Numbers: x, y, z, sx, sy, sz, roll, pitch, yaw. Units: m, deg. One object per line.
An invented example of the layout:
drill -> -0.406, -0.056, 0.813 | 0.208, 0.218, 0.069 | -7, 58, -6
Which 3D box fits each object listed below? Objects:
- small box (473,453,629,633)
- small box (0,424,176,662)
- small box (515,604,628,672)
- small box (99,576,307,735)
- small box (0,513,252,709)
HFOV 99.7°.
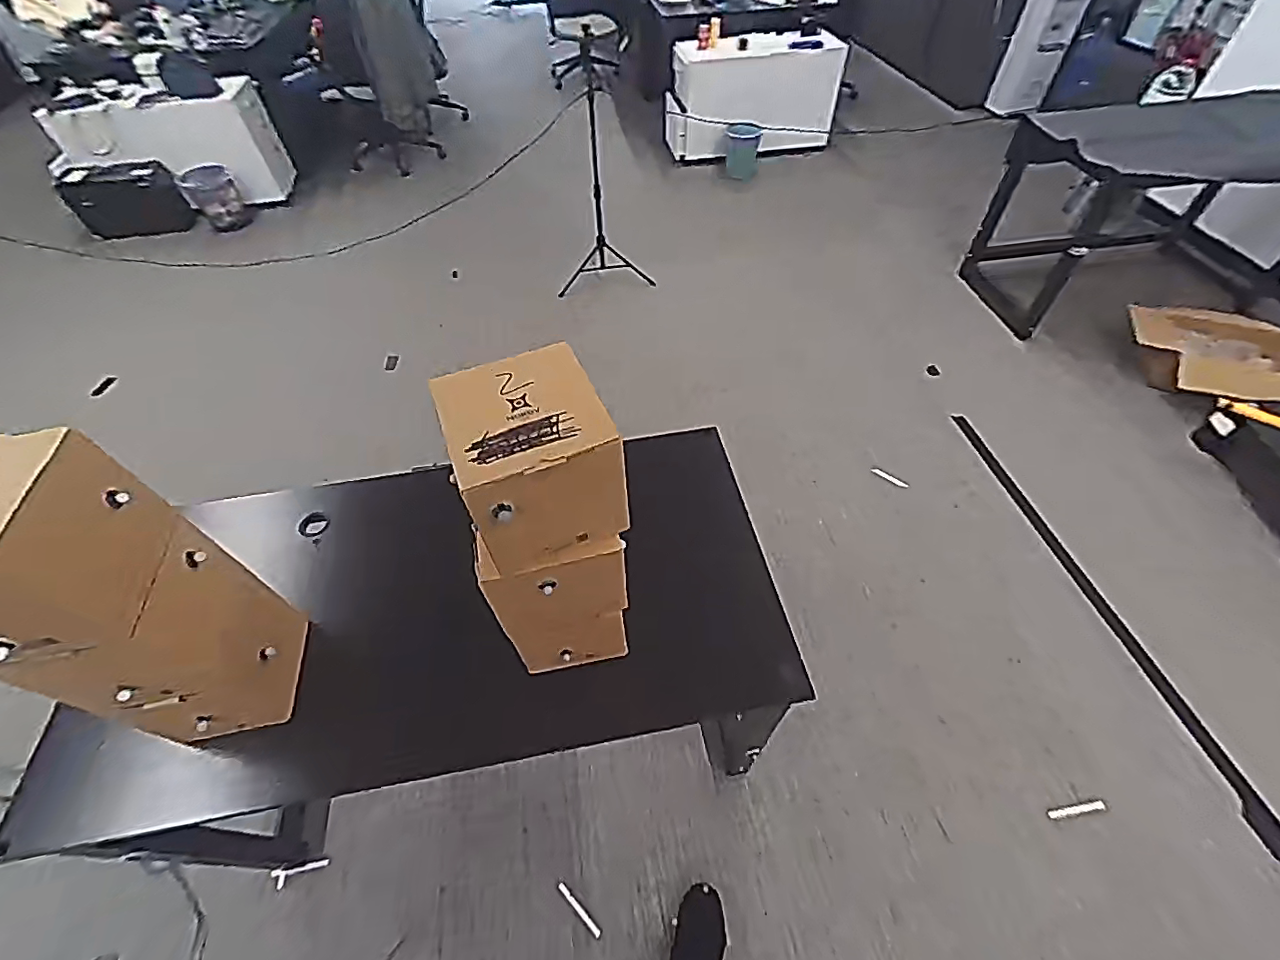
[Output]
small box -> -0.118, 0.091, 0.747 | 0.179, 0.176, 0.168 | -12, 53, -8
small box -> -0.649, 0.070, 0.570 | 0.168, 0.176, 0.179 | -10, 53, -5
small box -> -0.115, 0.188, 0.879 | 0.168, 0.176, 0.179 | -10, 52, -6
small box -> -0.642, 0.274, 0.826 | 0.168, 0.176, 0.179 | -10, 53, -6
small box -> -0.646, 0.170, 0.698 | 0.168, 0.176, 0.179 | -10, 52, -5
